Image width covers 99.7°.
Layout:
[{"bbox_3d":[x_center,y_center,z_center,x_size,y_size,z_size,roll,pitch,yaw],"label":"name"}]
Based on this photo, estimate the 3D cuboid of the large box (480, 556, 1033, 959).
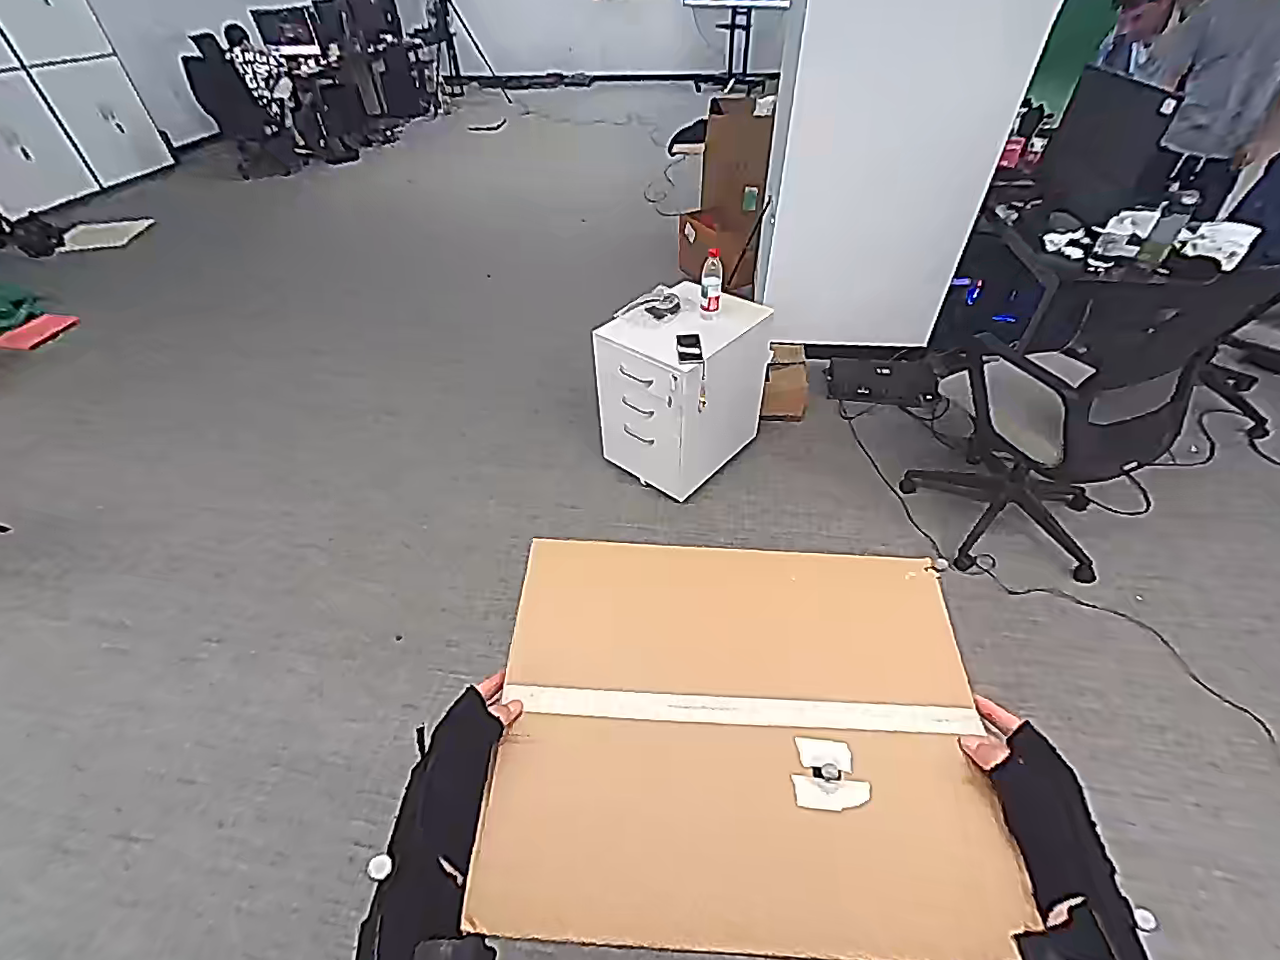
[{"bbox_3d":[0.083,0.297,0.589,0.408,0.320,0.320,3,54,1],"label":"large box"}]
